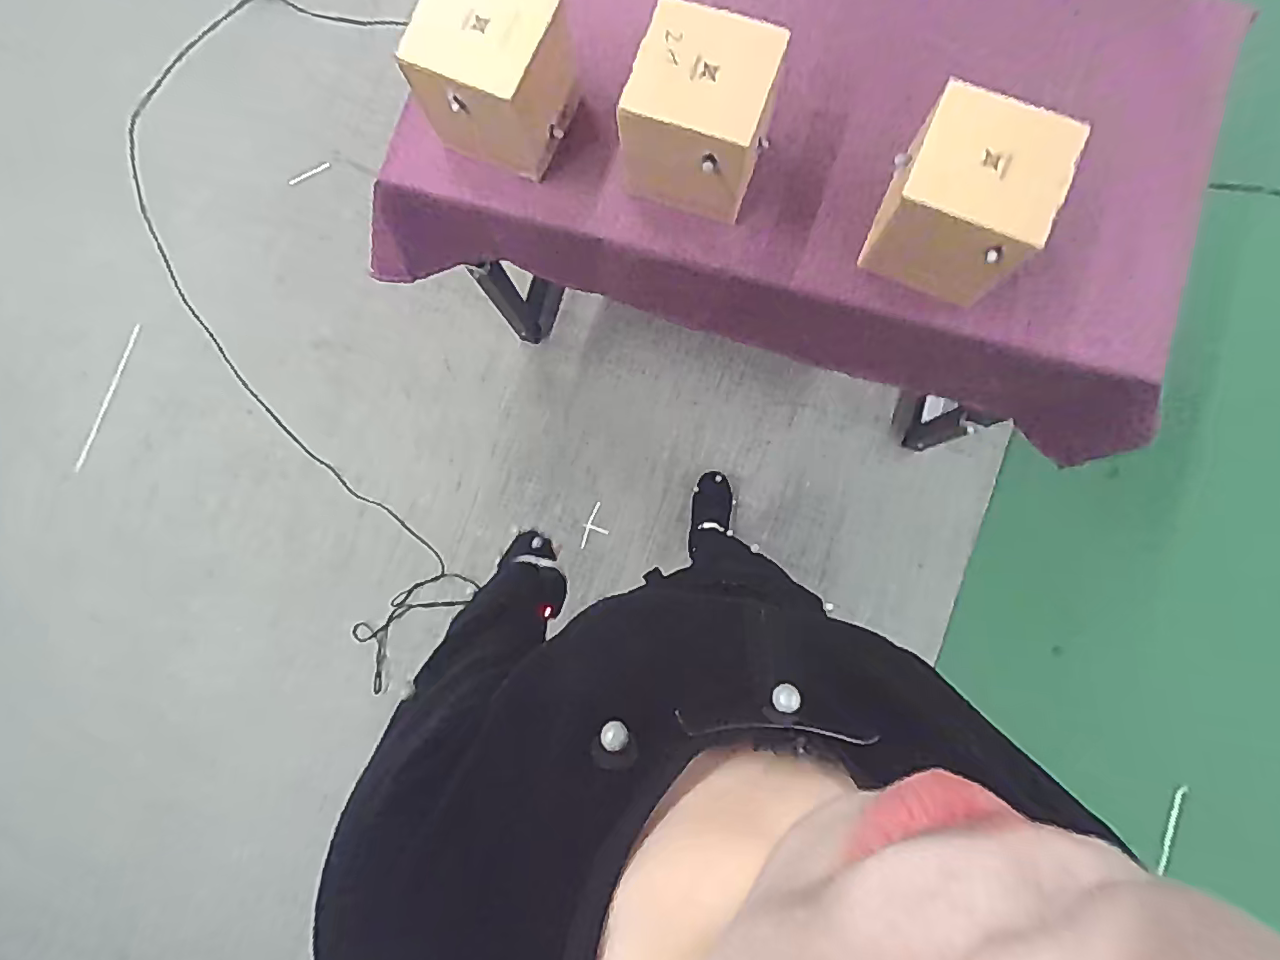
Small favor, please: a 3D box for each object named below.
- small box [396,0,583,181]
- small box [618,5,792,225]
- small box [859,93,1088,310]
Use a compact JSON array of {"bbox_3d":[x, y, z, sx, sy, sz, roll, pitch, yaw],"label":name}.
[{"bbox_3d":[-0.202,-0.573,0.778,0.179,0.176,0.168,25,86,5],"label":"small box"},{"bbox_3d":[0.085,-0.489,0.751,0.179,0.176,0.168,21,85,5],"label":"small box"},{"bbox_3d":[0.423,-0.353,0.719,0.179,0.176,0.168,24,86,5],"label":"small box"}]
